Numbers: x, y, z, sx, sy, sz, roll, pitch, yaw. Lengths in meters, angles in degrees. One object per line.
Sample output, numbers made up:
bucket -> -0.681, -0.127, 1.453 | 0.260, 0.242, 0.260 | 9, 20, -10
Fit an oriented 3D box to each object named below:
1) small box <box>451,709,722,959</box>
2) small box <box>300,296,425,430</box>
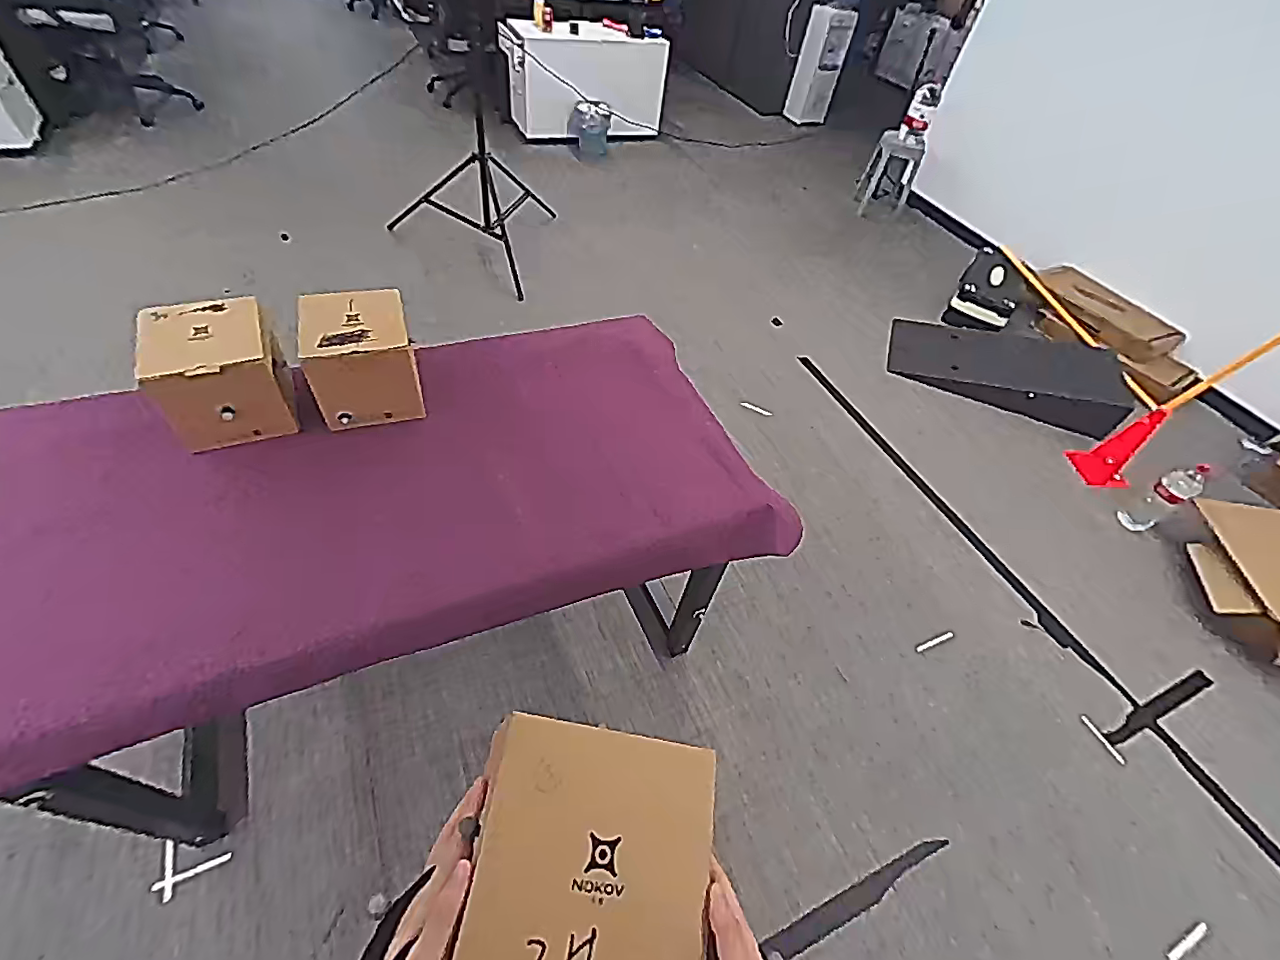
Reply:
small box -> -0.047, 0.304, 0.435 | 0.168, 0.176, 0.179 | 17, 56, -10
small box -> -0.498, -0.207, 0.985 | 0.168, 0.176, 0.179 | -12, 54, -18
